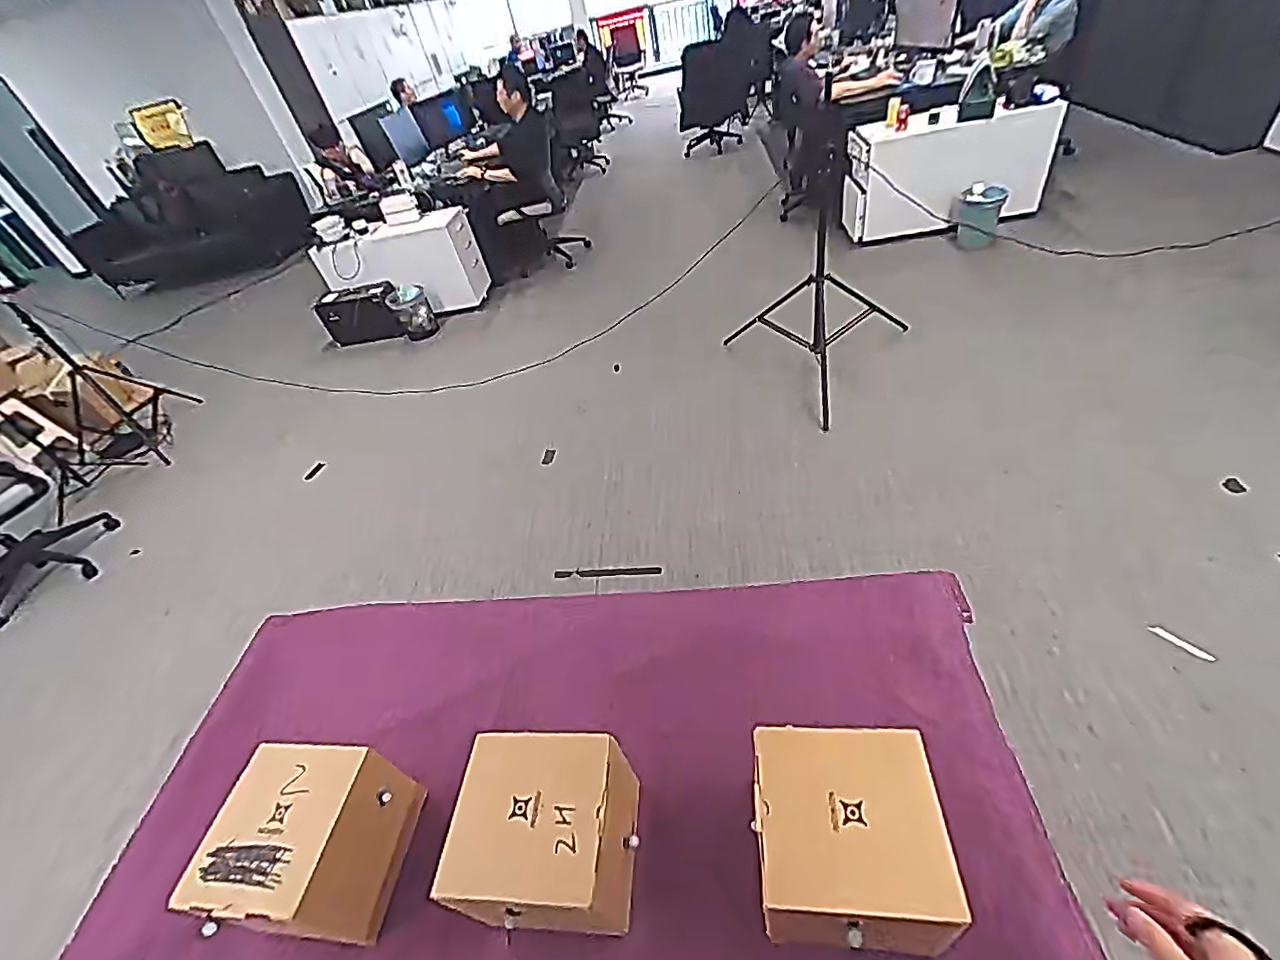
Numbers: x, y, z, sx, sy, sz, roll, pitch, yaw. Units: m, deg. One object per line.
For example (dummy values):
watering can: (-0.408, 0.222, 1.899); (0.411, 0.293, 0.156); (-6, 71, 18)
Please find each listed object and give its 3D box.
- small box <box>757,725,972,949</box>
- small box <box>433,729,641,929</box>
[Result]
small box: (0.223, 0.385, 0.586); (0.179, 0.176, 0.168); (-5, 42, 12)
small box: (-0.106, 0.416, 0.646); (0.179, 0.176, 0.168); (-5, 43, 11)
